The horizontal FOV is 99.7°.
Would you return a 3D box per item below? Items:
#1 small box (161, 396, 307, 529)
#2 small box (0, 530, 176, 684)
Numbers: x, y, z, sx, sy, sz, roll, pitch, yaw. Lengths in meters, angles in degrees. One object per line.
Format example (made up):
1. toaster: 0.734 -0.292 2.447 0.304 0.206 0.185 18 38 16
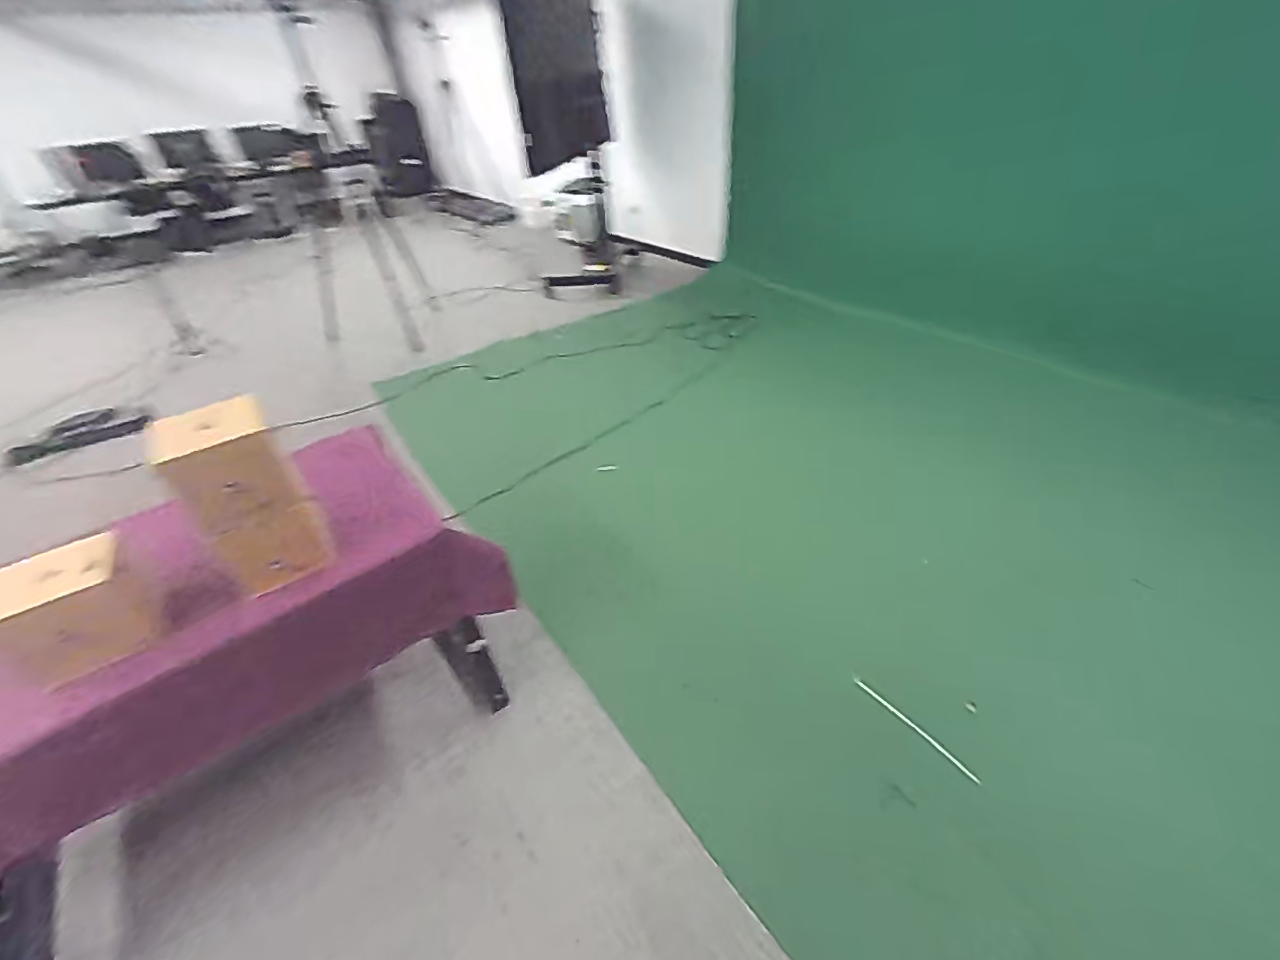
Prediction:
1. small box: -0.760 -0.030 1.022 0.168 0.176 0.179 -25 42 -26
2. small box: -0.994 0.230 0.978 0.179 0.176 0.168 -26 42 -25
